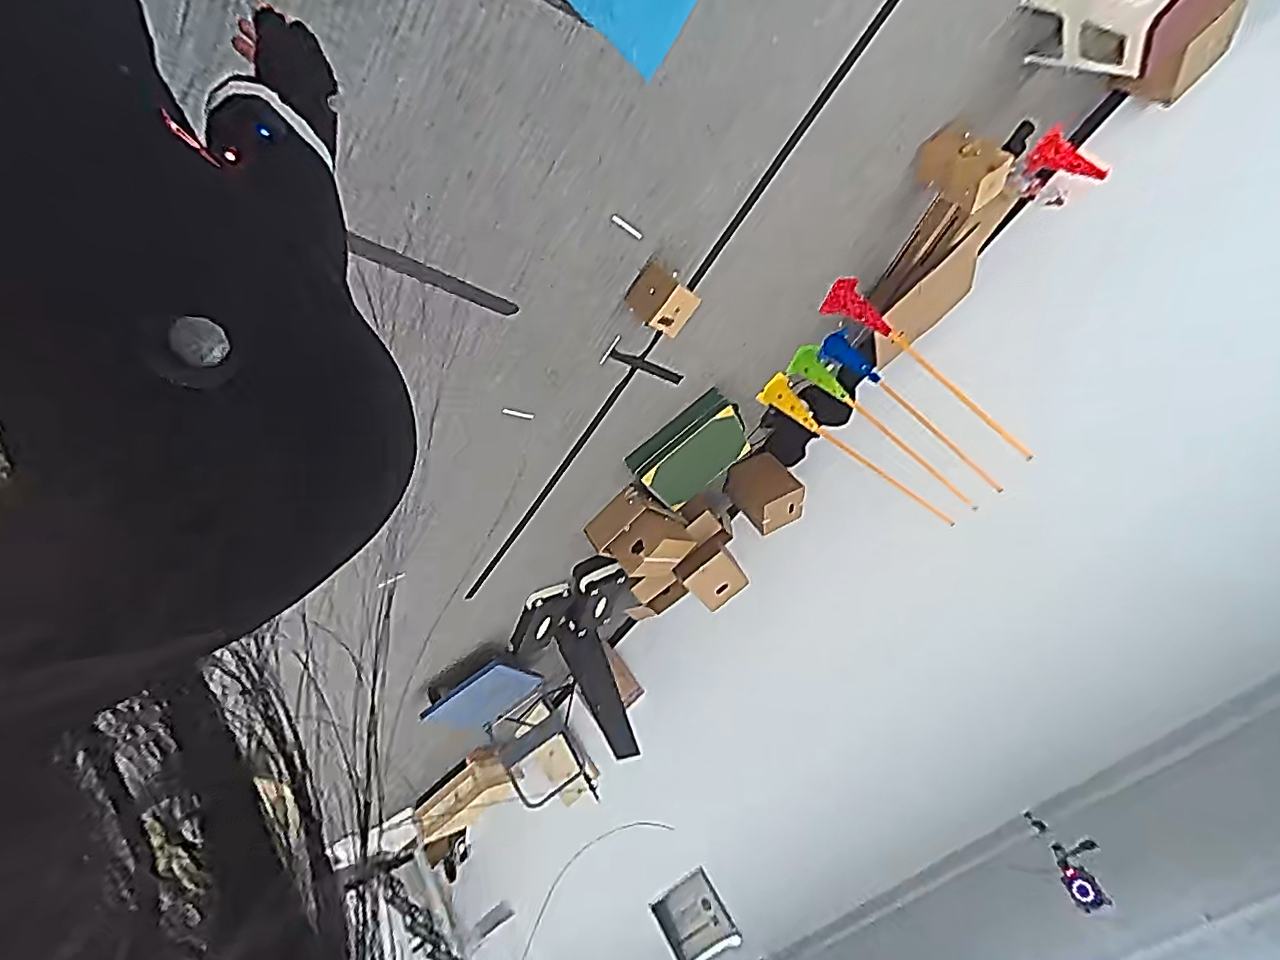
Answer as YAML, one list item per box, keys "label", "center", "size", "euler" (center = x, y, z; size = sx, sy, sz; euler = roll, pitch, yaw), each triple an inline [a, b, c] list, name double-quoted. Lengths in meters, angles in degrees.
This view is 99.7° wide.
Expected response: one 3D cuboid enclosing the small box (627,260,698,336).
- label: "small box"
  center: [0.074, -0.673, 2.002]
  size: [0.179, 0.176, 0.168]
  euler: [-51, 149, 20]
